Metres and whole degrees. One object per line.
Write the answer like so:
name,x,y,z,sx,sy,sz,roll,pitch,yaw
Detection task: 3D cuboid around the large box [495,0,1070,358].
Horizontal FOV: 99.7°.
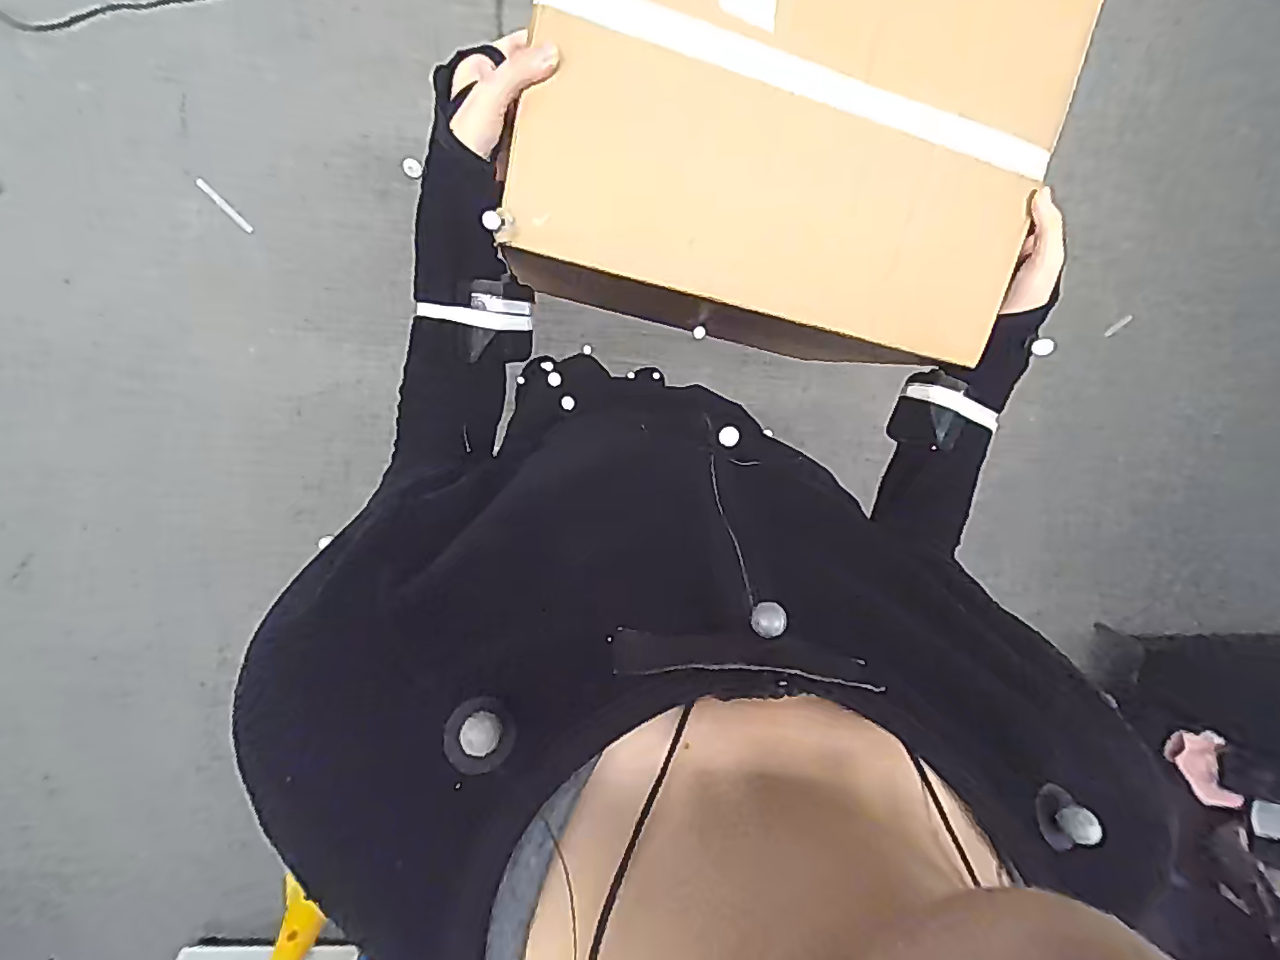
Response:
large box,0.093,-0.320,0.549,0.408,0.320,0.320,10,102,-11
